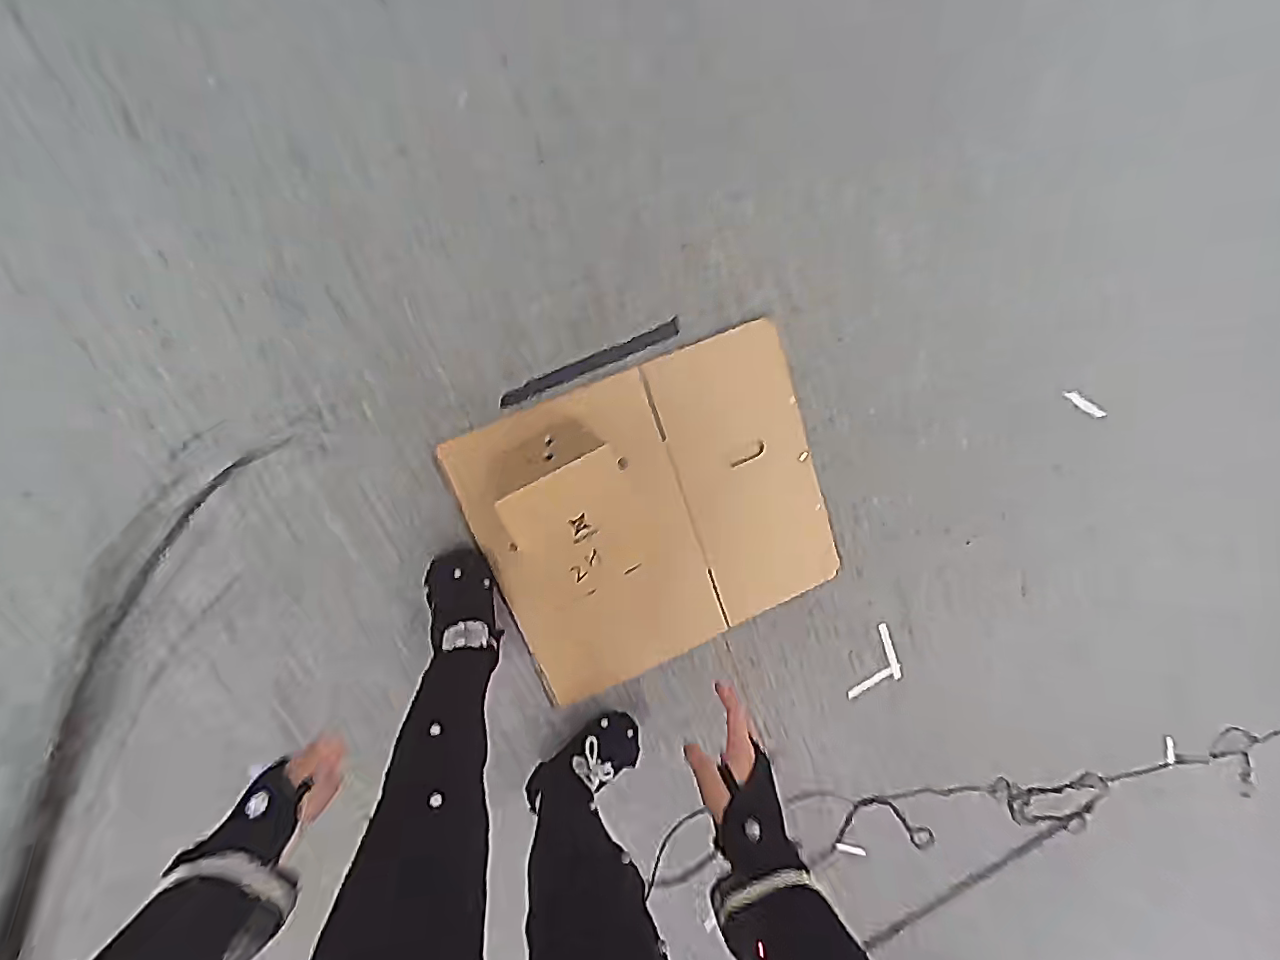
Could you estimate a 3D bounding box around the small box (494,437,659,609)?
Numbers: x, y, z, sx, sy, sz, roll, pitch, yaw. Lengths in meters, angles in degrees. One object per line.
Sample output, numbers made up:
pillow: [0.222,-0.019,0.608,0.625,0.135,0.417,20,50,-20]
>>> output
small box: [-0.100,0.048,0.784,0.168,0.176,0.179,-29,108,-7]

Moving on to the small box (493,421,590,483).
small box: [-0.139,0.014,0.941,0.168,0.176,0.179,-31,109,-8]
